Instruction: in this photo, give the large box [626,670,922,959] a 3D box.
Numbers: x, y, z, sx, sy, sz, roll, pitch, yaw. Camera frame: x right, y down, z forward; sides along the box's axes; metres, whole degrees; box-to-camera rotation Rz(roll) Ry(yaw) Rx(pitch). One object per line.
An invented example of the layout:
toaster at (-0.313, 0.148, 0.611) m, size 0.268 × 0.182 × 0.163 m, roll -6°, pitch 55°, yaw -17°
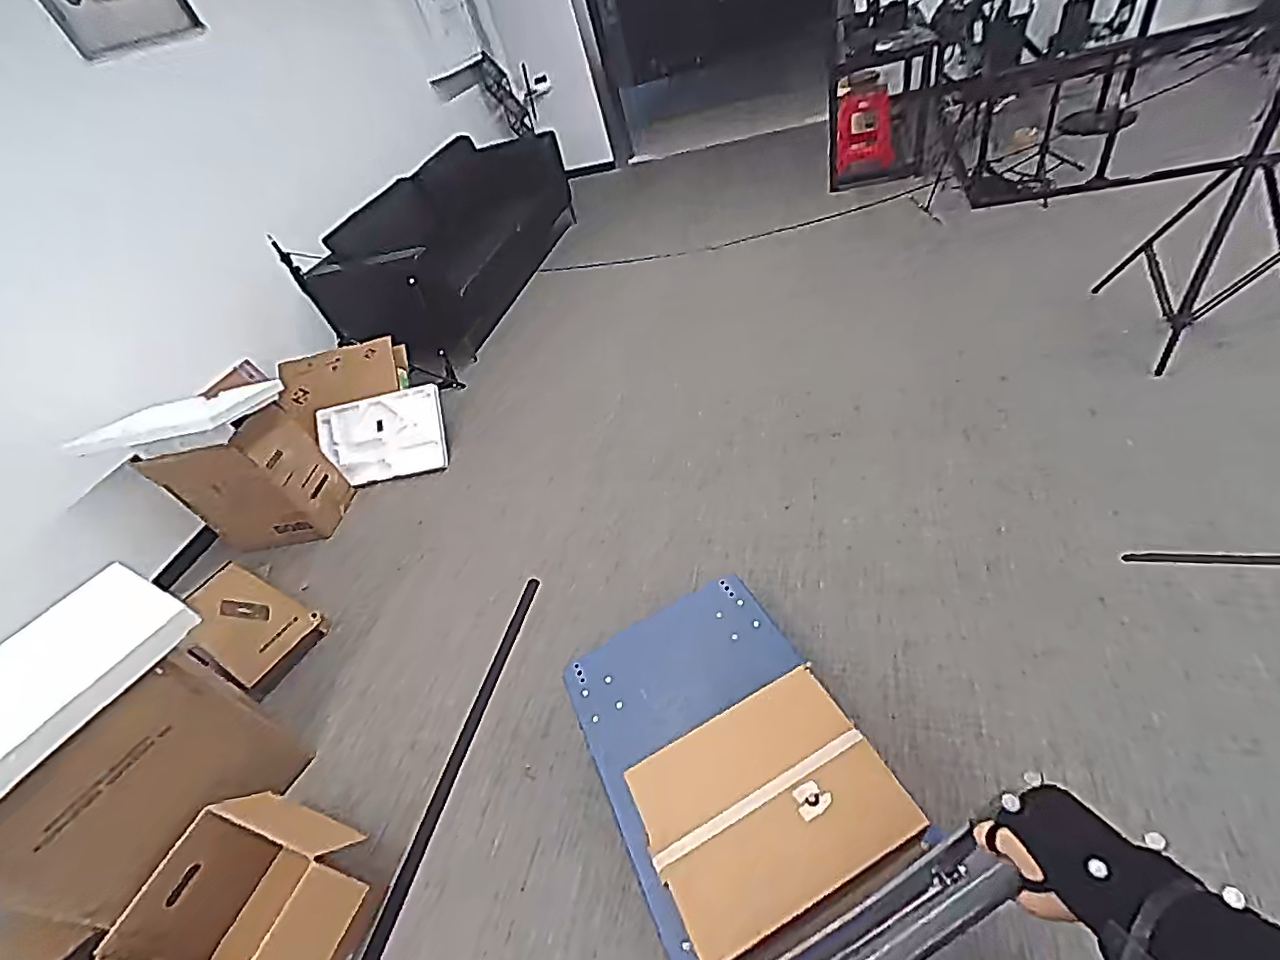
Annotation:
large box at (0.241, 0.650, 1.014) m, size 0.408 × 0.320 × 0.320 m, roll -27°, pitch 43°, yaw -10°
